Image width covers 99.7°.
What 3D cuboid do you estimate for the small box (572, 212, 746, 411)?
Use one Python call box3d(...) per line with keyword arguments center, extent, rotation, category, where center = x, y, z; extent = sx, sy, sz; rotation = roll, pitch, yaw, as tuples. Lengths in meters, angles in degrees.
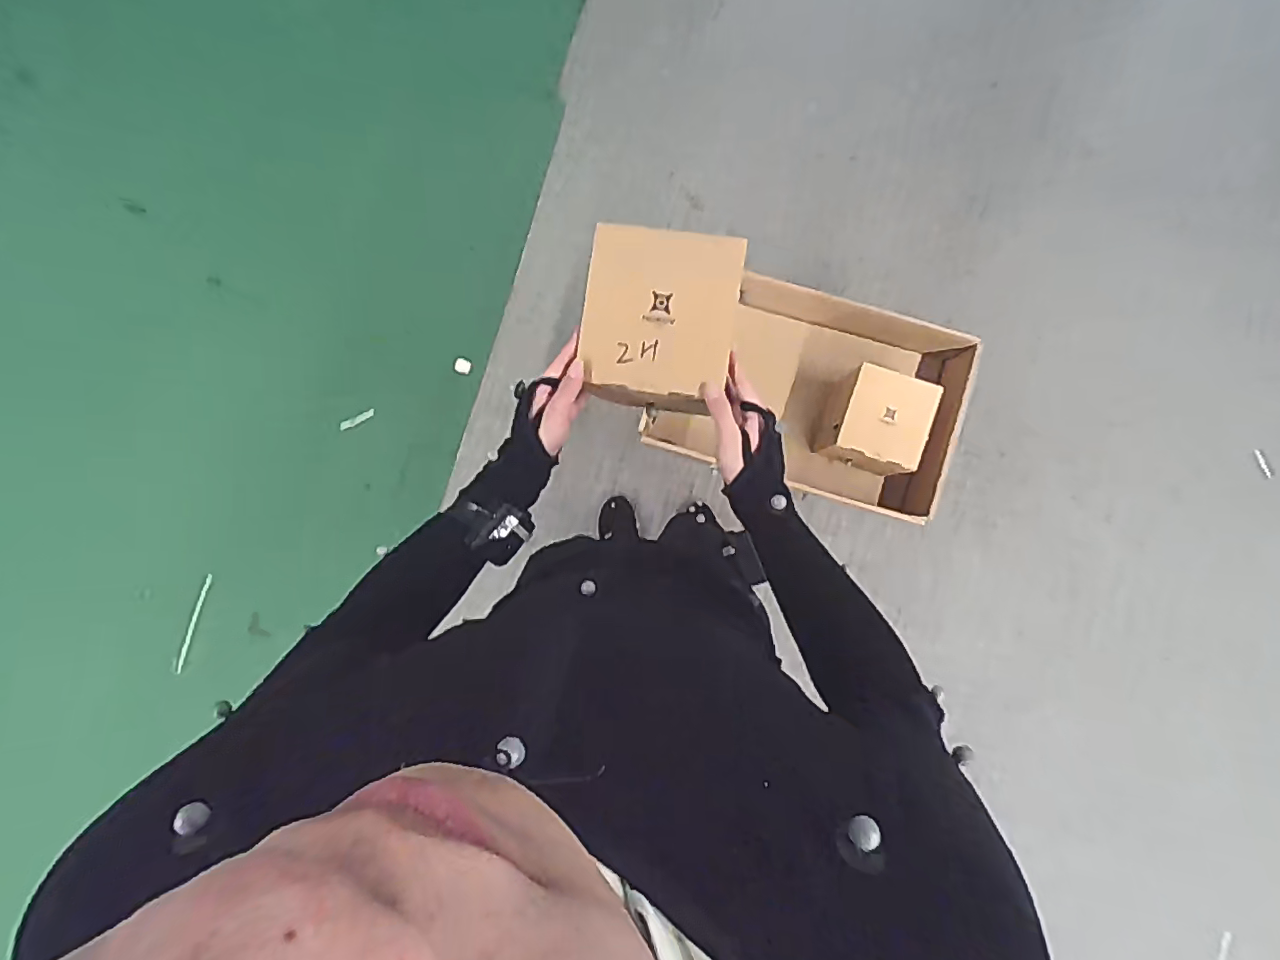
box3d(center=(0.024, -0.189, 0.653), extent=(0.168, 0.176, 0.179), rotation=(9, 91, 4), category="small box")
